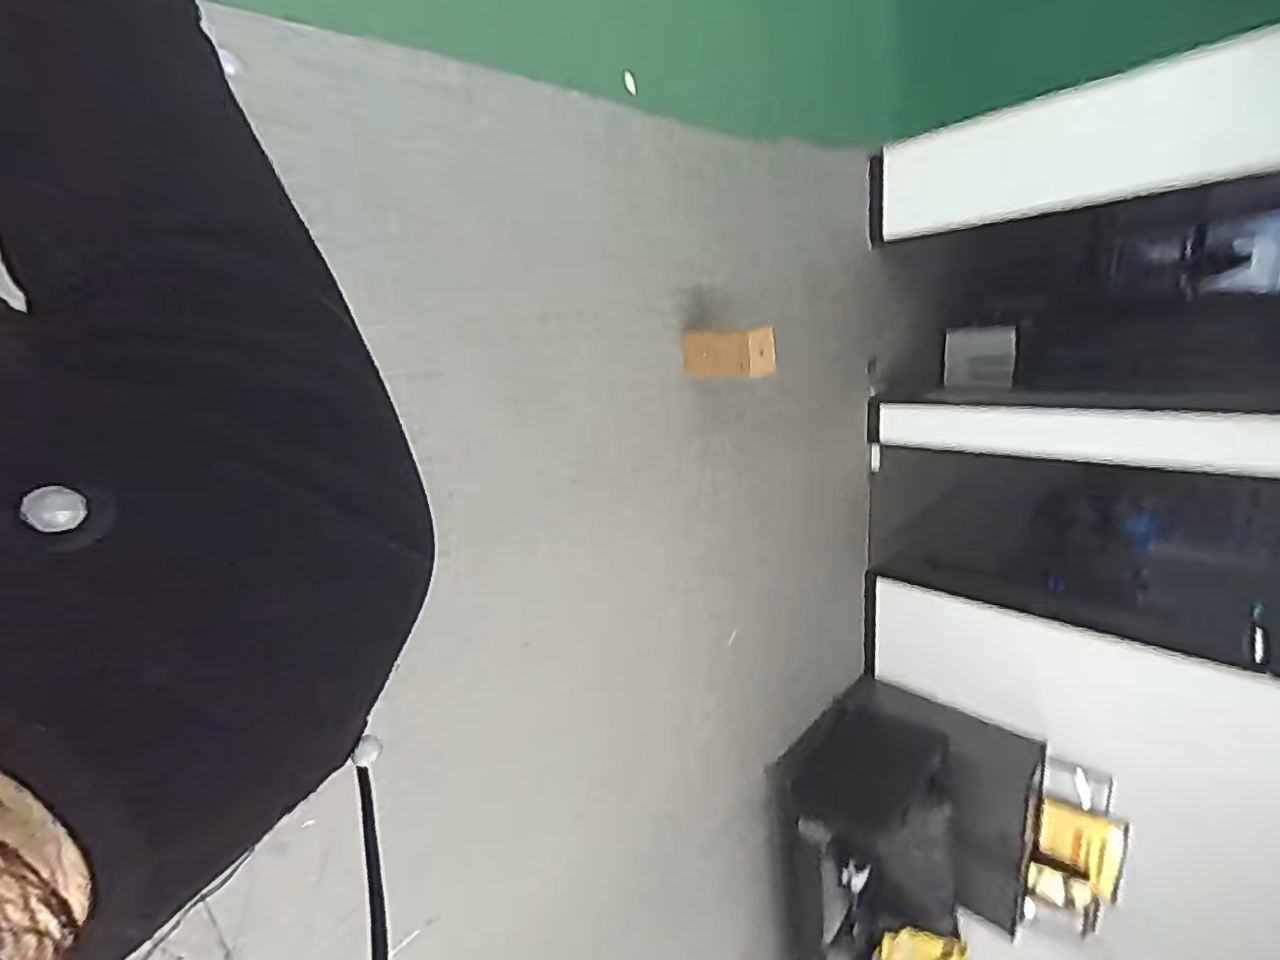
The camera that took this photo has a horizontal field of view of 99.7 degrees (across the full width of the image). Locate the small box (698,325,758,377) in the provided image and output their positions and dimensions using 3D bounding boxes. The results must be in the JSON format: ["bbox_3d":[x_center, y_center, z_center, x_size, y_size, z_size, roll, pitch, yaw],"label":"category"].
[{"bbox_3d":[0.342,-0.505,2.106,0.168,0.176,0.179,-24,115,-40],"label":"small box"}]

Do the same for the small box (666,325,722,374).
[{"bbox_3d":[0.227,-0.537,2.220,0.168,0.176,0.179,-24,114,-39],"label":"small box"}]
